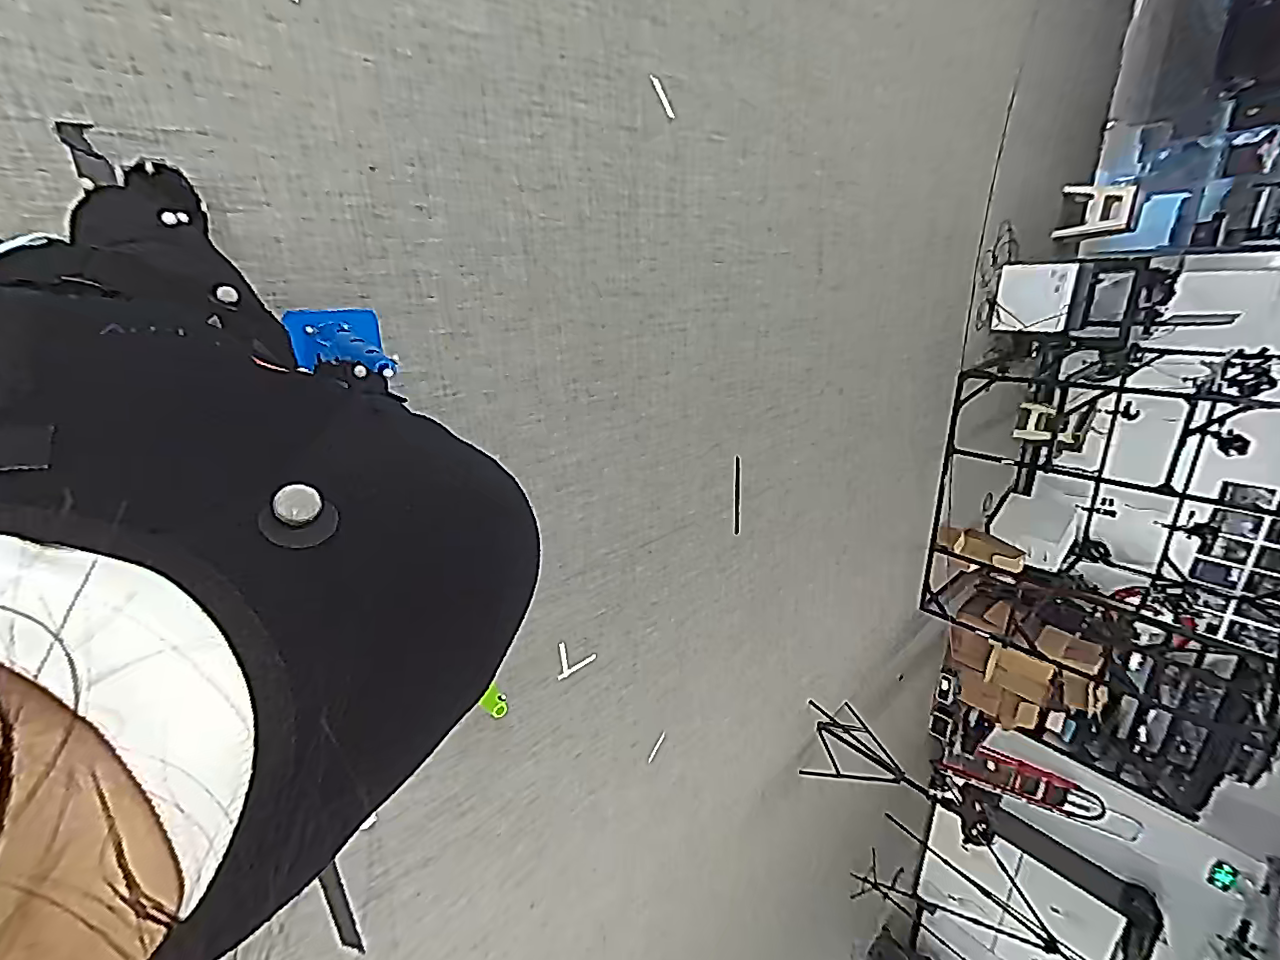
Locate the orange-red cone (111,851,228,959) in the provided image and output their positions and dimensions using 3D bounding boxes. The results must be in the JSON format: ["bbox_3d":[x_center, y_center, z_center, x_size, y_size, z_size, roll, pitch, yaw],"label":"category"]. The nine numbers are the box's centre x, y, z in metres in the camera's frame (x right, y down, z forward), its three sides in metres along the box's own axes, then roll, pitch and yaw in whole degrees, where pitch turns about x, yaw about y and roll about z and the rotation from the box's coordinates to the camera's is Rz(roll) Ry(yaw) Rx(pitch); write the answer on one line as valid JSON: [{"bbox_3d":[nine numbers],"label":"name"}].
[{"bbox_3d":[-1.033,1.070,1.199,0.199,0.360,0.198,-12,111,-38],"label":"orange-red cone"}]

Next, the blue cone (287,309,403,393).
[{"bbox_3d":[-0.604,-0.262,1.157,0.192,0.380,0.193,-14,114,-40],"label":"blue cone"}]
